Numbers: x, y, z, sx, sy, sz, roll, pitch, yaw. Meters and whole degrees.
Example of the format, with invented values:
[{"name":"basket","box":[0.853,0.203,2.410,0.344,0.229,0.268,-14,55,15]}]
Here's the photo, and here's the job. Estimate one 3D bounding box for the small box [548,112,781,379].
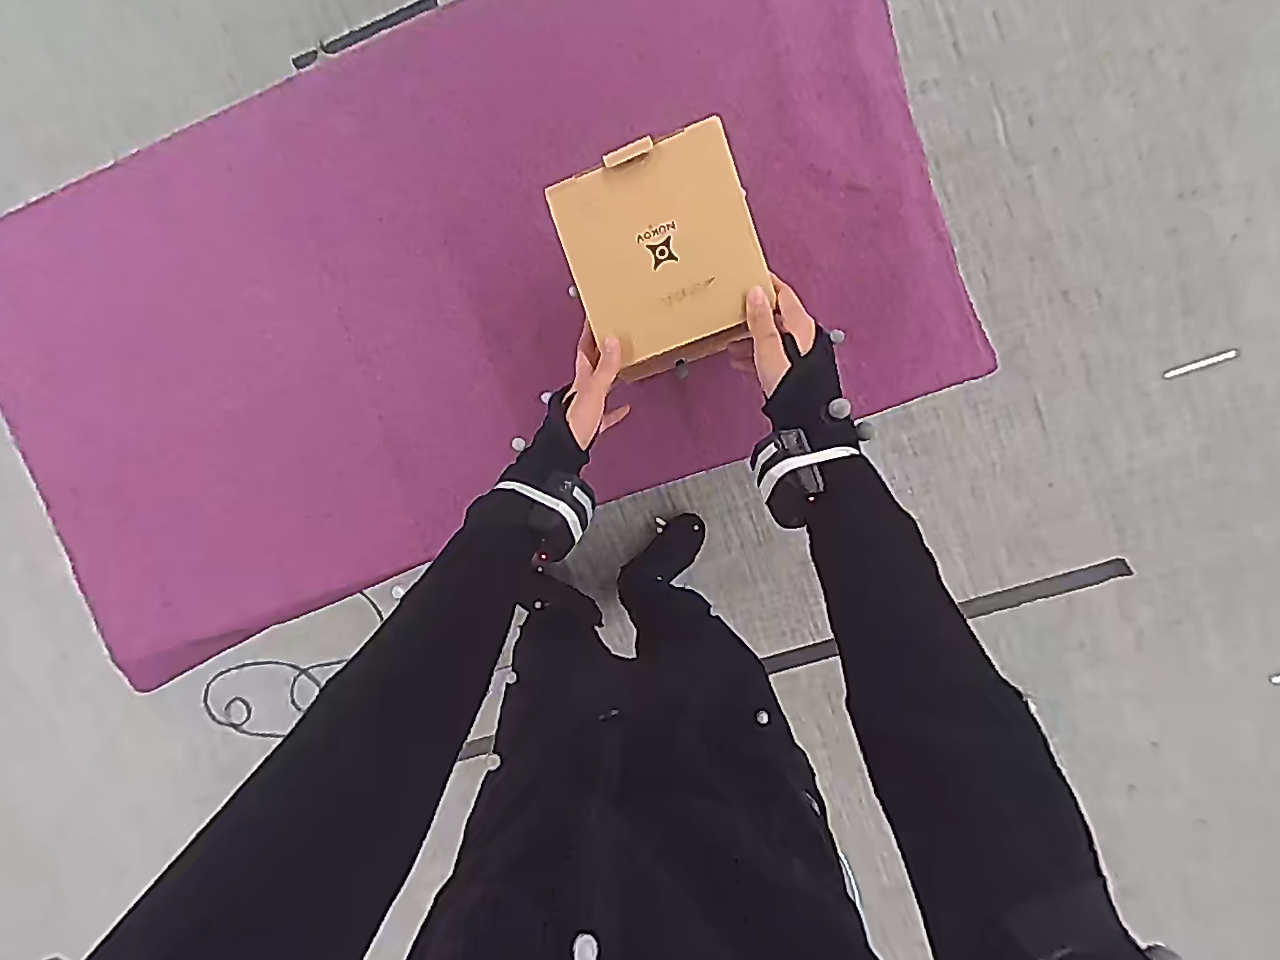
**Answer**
[{"name":"small box","box":[0.028,-0.214,0.549,0.168,0.176,0.179,-18,95,9]}]
